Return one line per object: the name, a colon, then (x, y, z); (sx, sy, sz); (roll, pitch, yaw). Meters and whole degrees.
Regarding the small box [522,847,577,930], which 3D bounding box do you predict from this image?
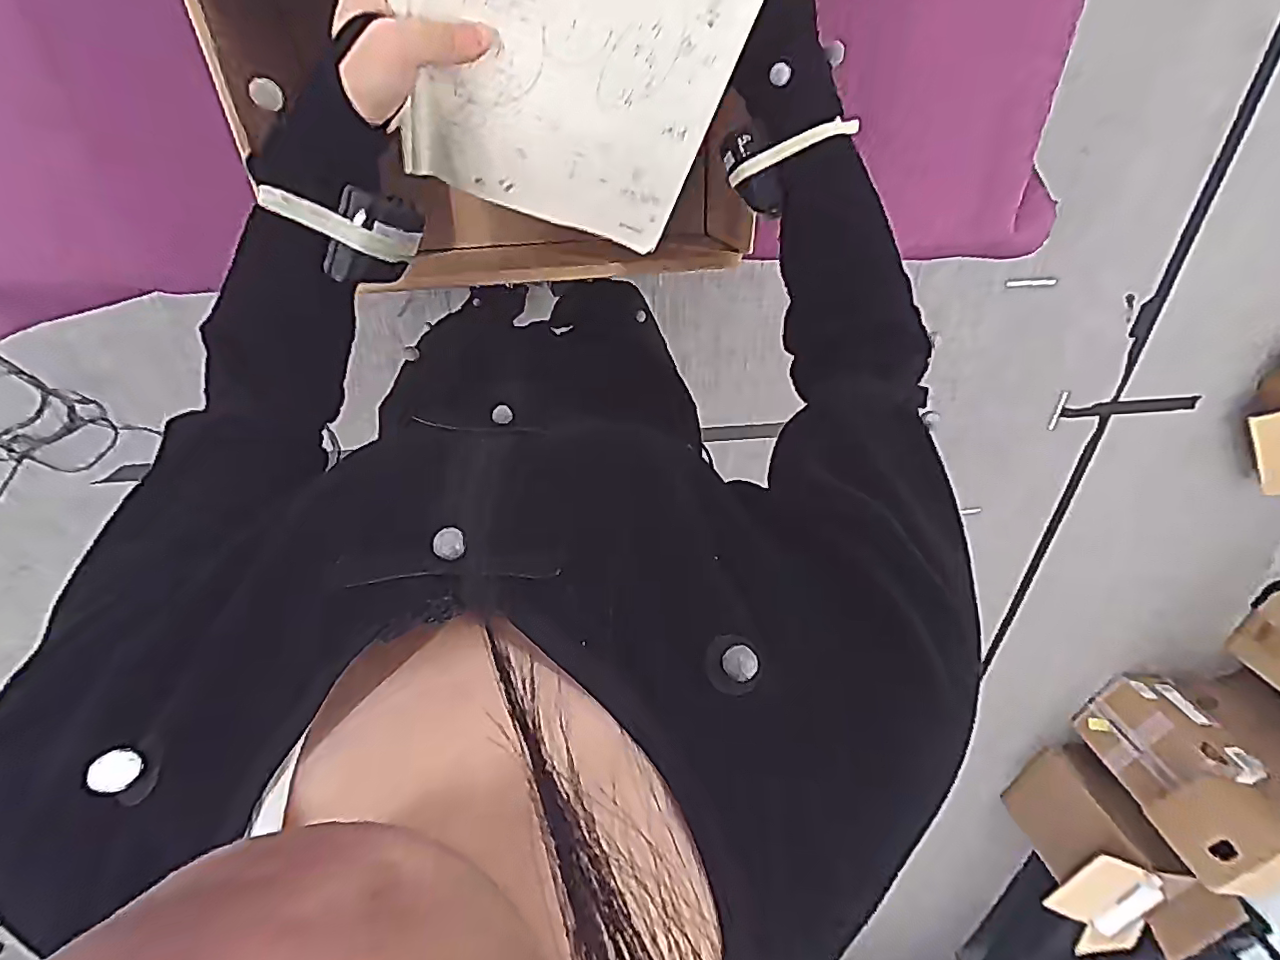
small box: (-0.306, 1.385, 1.838); (0.179, 0.176, 0.168); (-3, 123, -9)
